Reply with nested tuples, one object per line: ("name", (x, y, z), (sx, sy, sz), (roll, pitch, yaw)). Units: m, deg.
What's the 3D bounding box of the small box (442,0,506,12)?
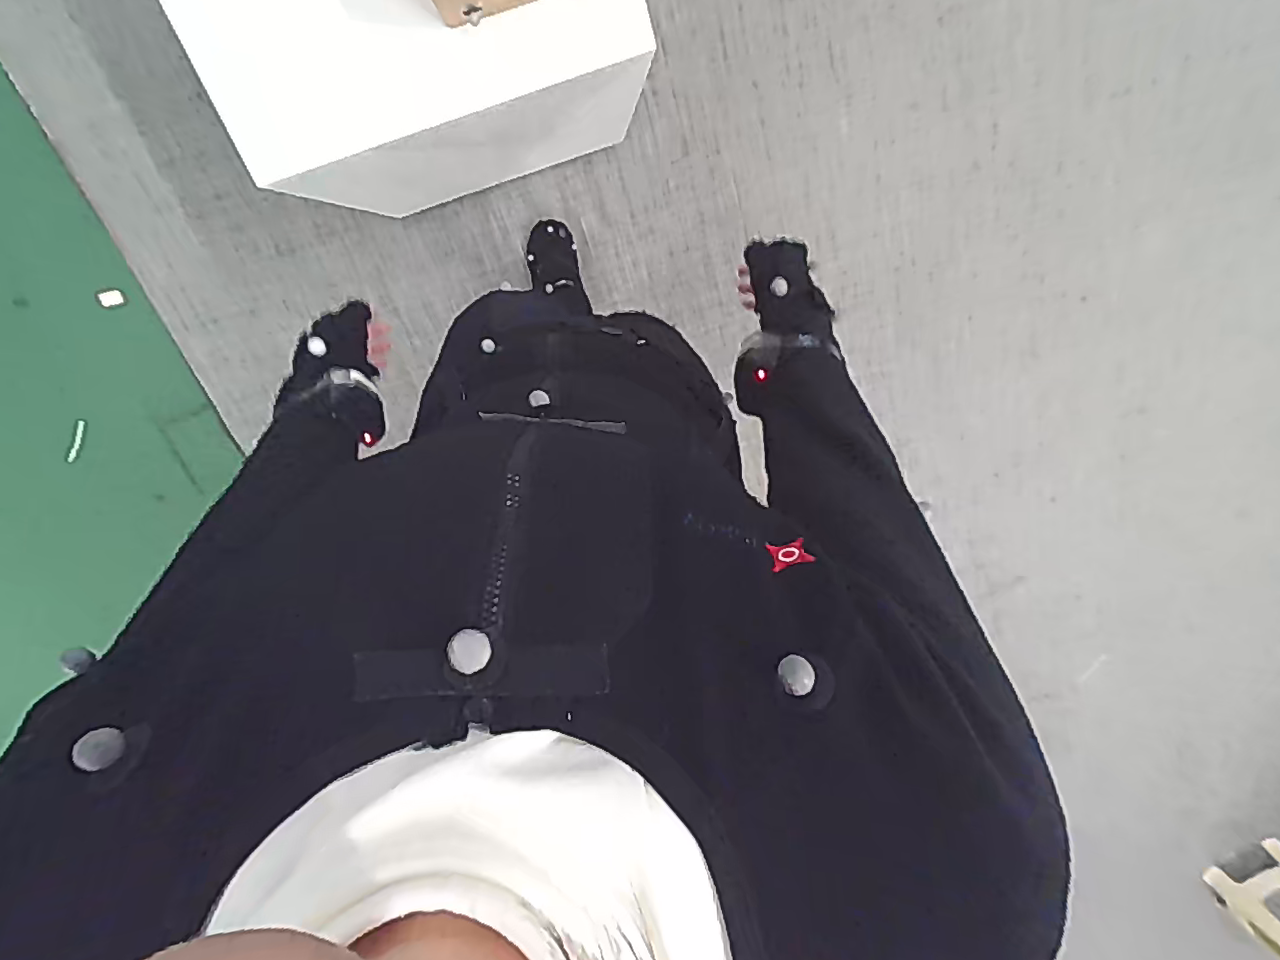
("small box", (-0.152, -0.586, 0.506), (0.168, 0.176, 0.179), (-17, 111, 1))
